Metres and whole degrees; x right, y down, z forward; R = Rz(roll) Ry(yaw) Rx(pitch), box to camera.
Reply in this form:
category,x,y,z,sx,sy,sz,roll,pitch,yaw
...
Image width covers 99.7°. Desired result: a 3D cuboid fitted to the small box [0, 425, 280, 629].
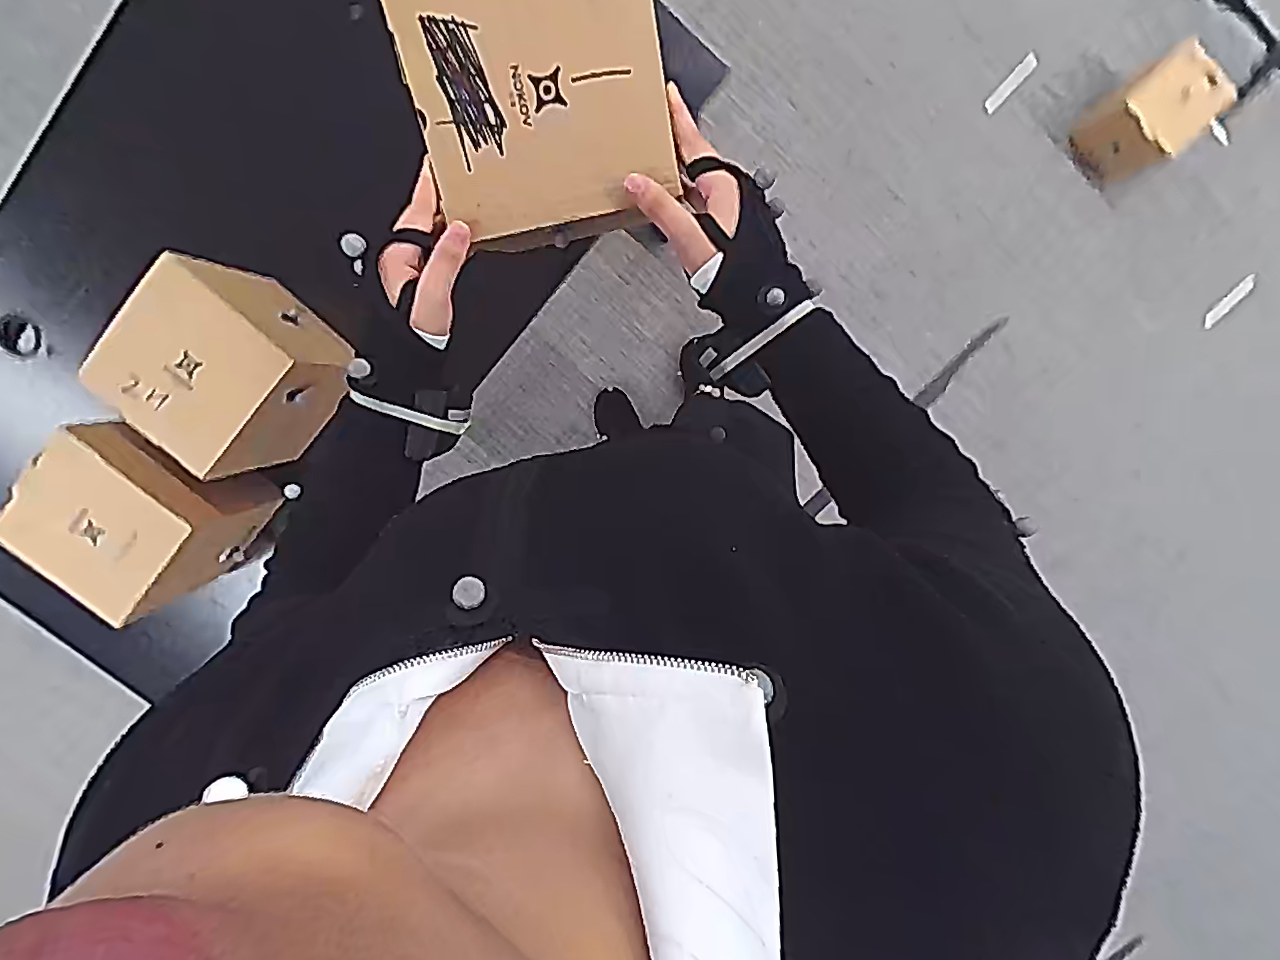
category,x,y,z,sx,sy,sz,roll,pitch,yaw
small box,-0.612,0.044,0.676,0.179,0.176,0.168,40,100,-7

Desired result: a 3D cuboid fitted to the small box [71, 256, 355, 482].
category,x,y,z,sx,sy,sz,roll,pitch,yaw
small box,-0.477,-0.126,0.640,0.168,0.176,0.179,42,98,-6

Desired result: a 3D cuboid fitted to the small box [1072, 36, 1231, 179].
category,x,y,z,sx,sy,sz,roll,pitch,yaw
small box,1.146,-0.833,1.234,0.168,0.176,0.179,43,99,-7
